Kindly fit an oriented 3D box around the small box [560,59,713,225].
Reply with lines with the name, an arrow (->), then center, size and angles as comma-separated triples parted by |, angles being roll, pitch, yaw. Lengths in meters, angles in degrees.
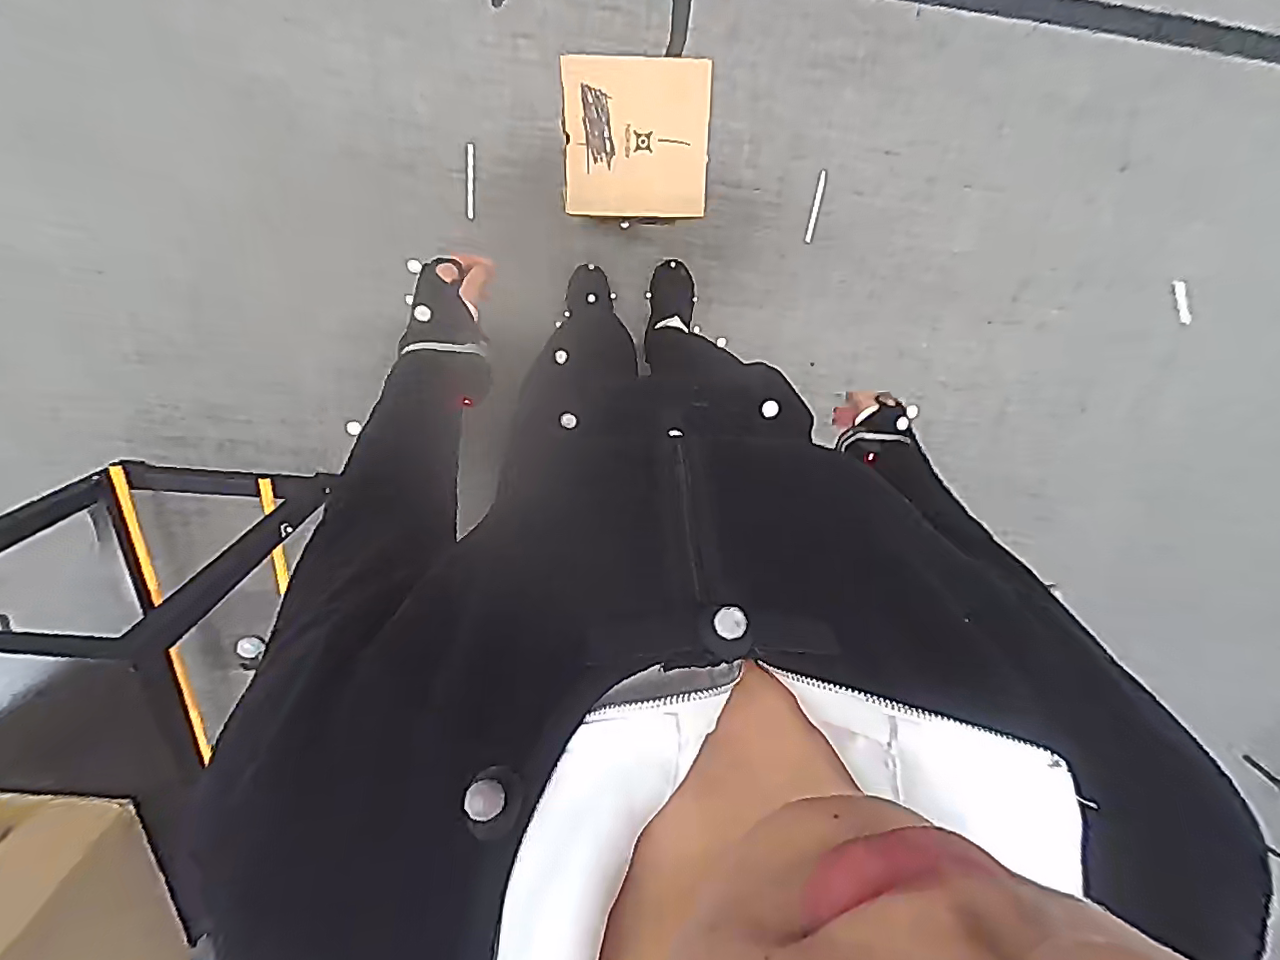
small box -> -0.007, -0.434, 0.719 | 0.179, 0.176, 0.168 | 0, 115, -2
